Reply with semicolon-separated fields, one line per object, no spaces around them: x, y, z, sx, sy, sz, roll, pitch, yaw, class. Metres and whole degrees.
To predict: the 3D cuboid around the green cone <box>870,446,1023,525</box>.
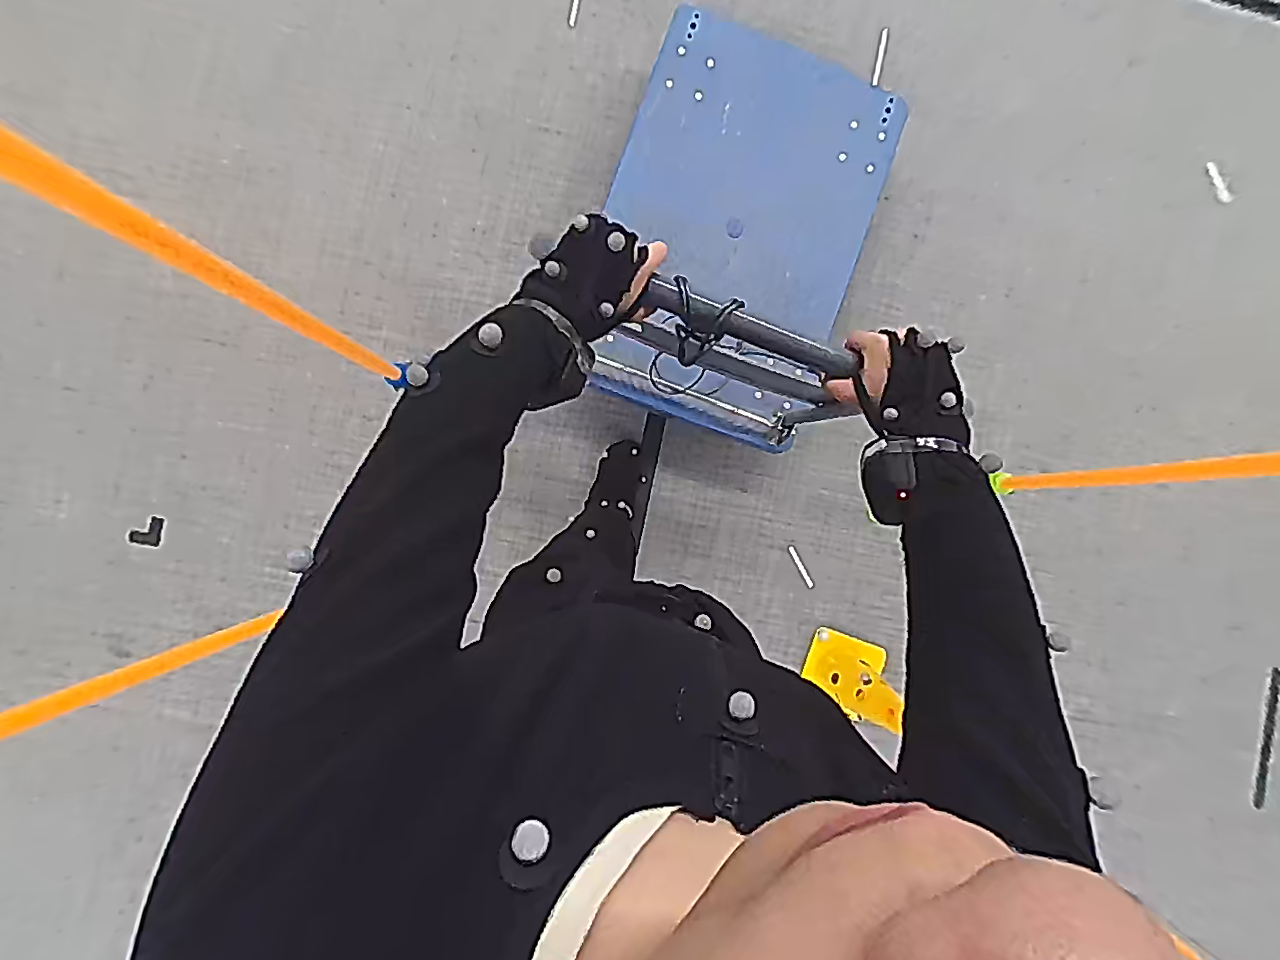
0.705;0.014;1.223;0.200;0.368;0.202;-2;91;-4;green cone
